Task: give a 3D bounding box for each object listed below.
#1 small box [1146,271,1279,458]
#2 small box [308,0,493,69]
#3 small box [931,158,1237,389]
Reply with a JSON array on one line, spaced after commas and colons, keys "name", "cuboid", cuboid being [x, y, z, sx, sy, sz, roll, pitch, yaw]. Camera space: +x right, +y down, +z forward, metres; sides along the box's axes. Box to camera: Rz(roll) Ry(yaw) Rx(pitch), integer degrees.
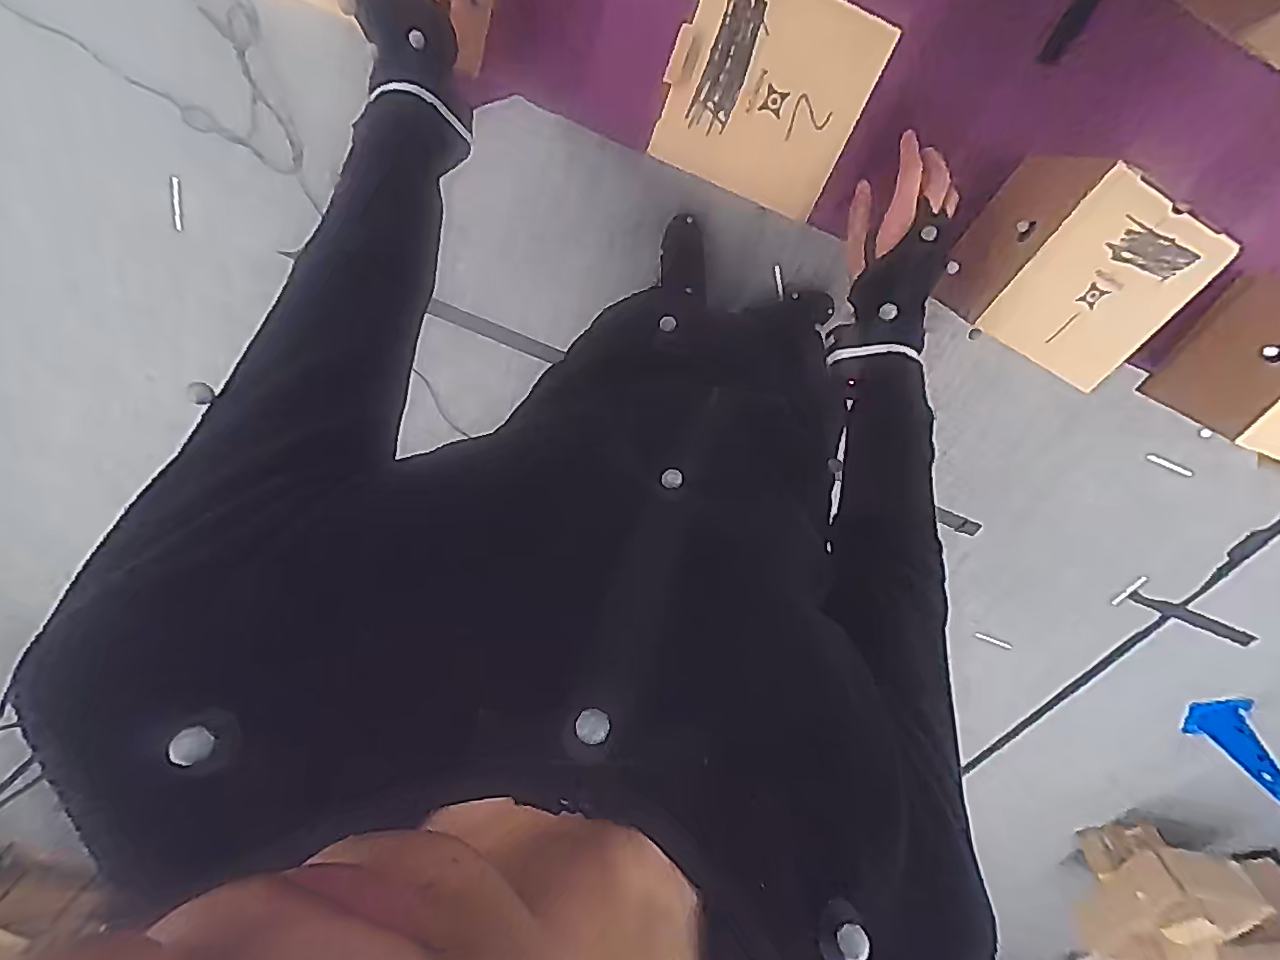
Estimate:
[{"name": "small box", "cuboid": [0.788, -0.130, 0.649, 0.168, 0.176, 0.179, 20, 121, -5]}, {"name": "small box", "cuboid": [-0.247, -0.529, 0.518, 0.179, 0.176, 0.168, 21, 121, -9]}, {"name": "small box", "cuboid": [0.475, -0.241, 0.617, 0.168, 0.176, 0.179, 26, 122, -10]}]
